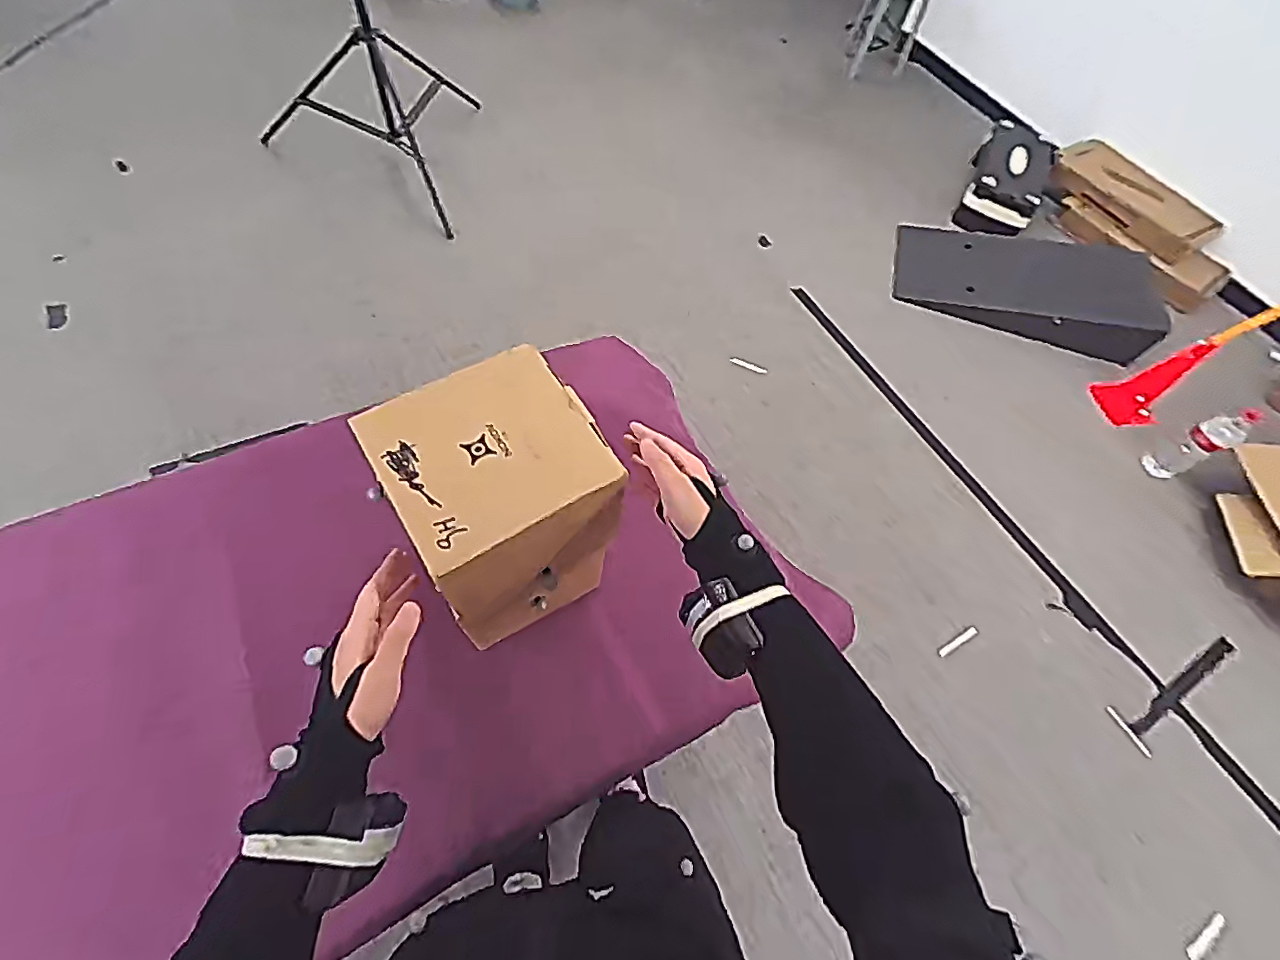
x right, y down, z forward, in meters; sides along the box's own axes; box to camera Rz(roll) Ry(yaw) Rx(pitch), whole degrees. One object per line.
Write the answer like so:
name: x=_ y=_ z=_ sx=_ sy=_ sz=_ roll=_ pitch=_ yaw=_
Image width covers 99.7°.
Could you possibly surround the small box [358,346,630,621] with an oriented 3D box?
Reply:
small box: x=-0.133 y=0.009 z=0.524 sx=0.179 sy=0.176 sz=0.168 roll=-28 pitch=68 yaw=-21
